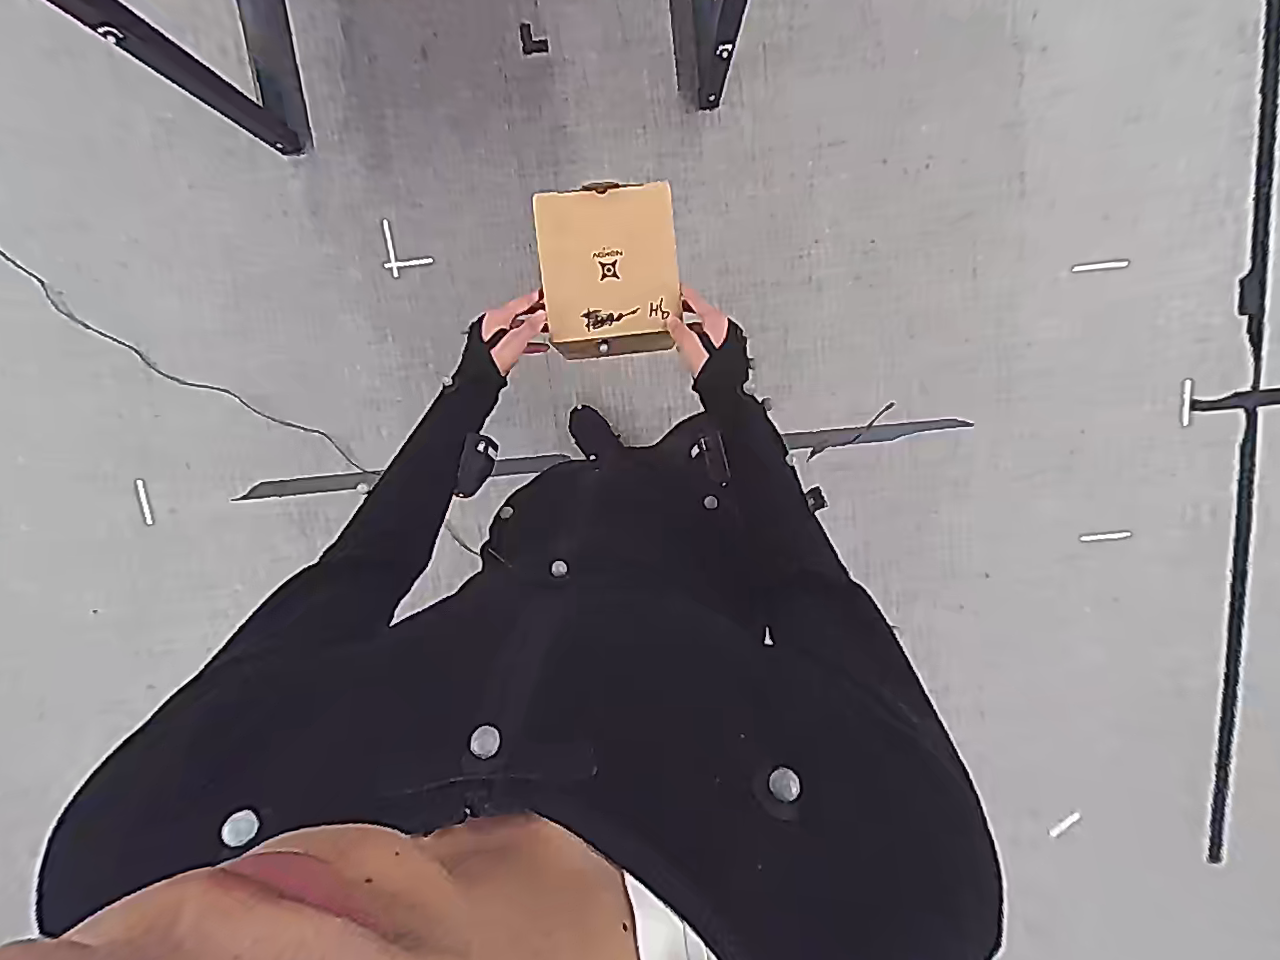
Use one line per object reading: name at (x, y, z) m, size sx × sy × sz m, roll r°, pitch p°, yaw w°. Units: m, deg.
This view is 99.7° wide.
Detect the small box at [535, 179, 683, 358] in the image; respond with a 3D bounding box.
small box at (-0.038, -0.269, 0.721) m, size 0.168 × 0.176 × 0.179 m, roll -6°, pitch 96°, yaw 0°
